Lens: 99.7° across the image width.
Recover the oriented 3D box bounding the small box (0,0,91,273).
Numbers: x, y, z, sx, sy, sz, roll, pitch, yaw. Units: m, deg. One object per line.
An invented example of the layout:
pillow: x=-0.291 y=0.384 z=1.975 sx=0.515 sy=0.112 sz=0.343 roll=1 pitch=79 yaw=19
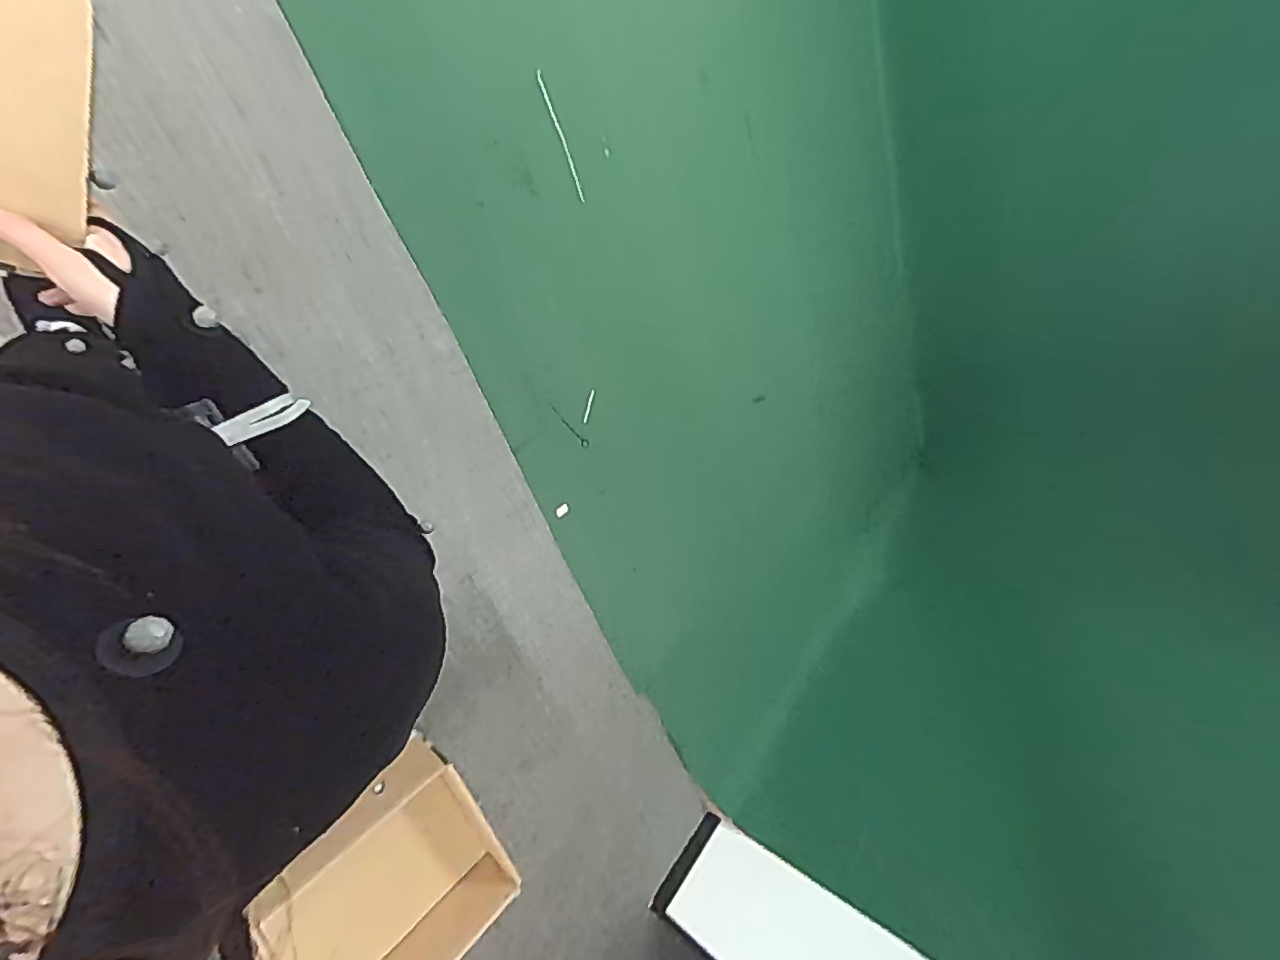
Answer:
small box: x=-0.475 y=-0.245 z=0.348 sx=0.168 sy=0.176 sz=0.179 roll=1 pitch=104 yaw=-46
